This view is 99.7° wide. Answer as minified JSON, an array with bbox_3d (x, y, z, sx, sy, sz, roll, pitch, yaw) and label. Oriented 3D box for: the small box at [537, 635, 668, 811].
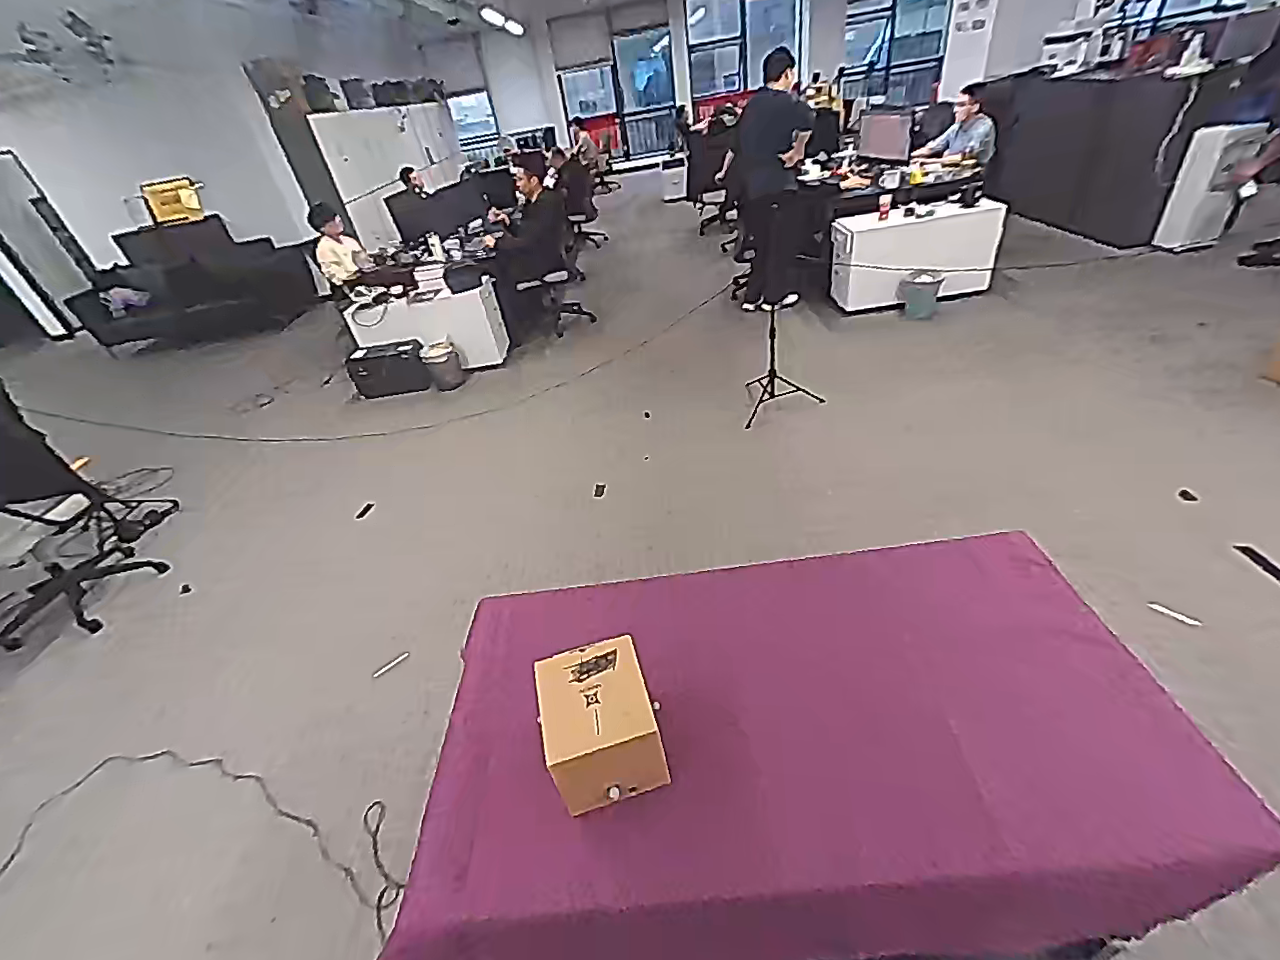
[{"bbox_3d":[-0.061,0.387,0.868,0.168,0.176,0.179,-15,37,-6],"label":"small box"}]
